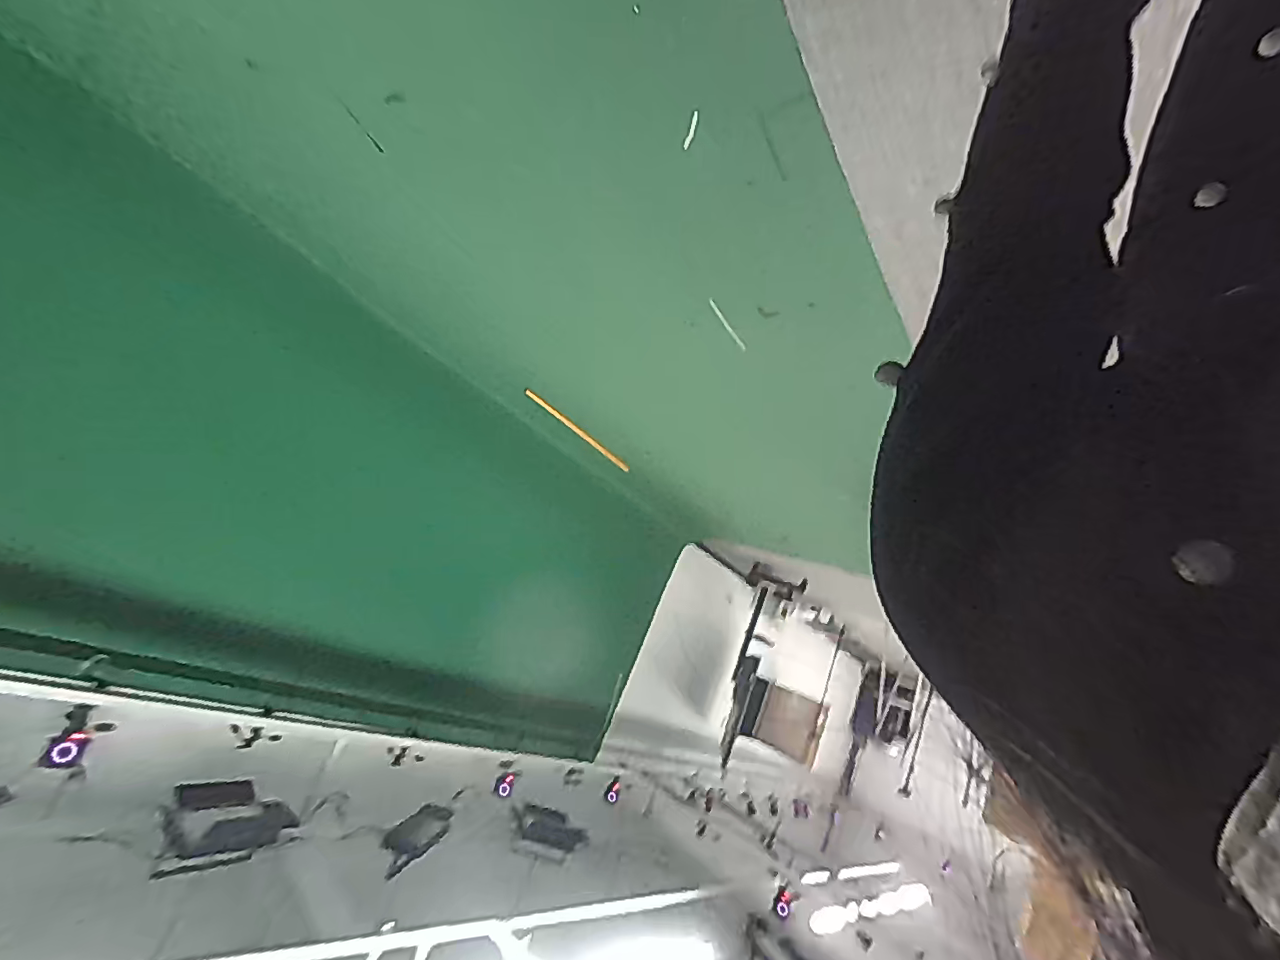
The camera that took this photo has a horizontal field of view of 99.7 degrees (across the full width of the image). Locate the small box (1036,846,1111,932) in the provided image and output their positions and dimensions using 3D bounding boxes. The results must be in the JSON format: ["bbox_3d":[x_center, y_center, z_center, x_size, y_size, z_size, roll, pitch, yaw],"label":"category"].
[{"bbox_3d":[1.479,1.386,1.848,0.168,0.176,0.179,14,161,35],"label":"small box"}]
